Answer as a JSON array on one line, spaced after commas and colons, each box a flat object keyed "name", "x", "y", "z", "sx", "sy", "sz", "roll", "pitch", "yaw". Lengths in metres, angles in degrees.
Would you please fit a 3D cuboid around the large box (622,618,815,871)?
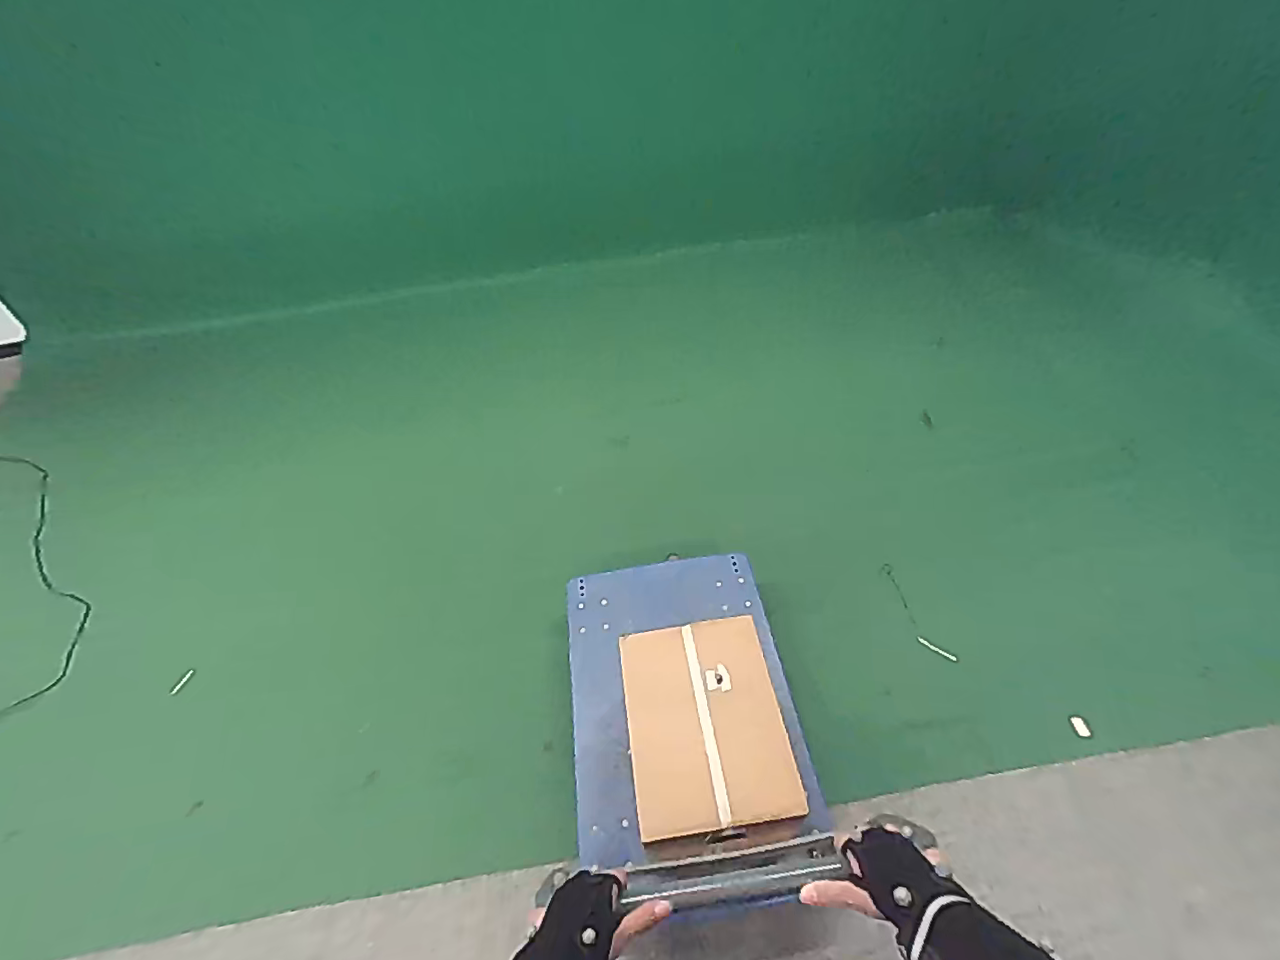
[{"name": "large box", "x": 0.151, "y": 0.581, "z": 1.200, "sx": 0.320, "sy": 0.320, "sz": 0.408, "roll": -9, "pitch": 47, "yaw": -2}]
